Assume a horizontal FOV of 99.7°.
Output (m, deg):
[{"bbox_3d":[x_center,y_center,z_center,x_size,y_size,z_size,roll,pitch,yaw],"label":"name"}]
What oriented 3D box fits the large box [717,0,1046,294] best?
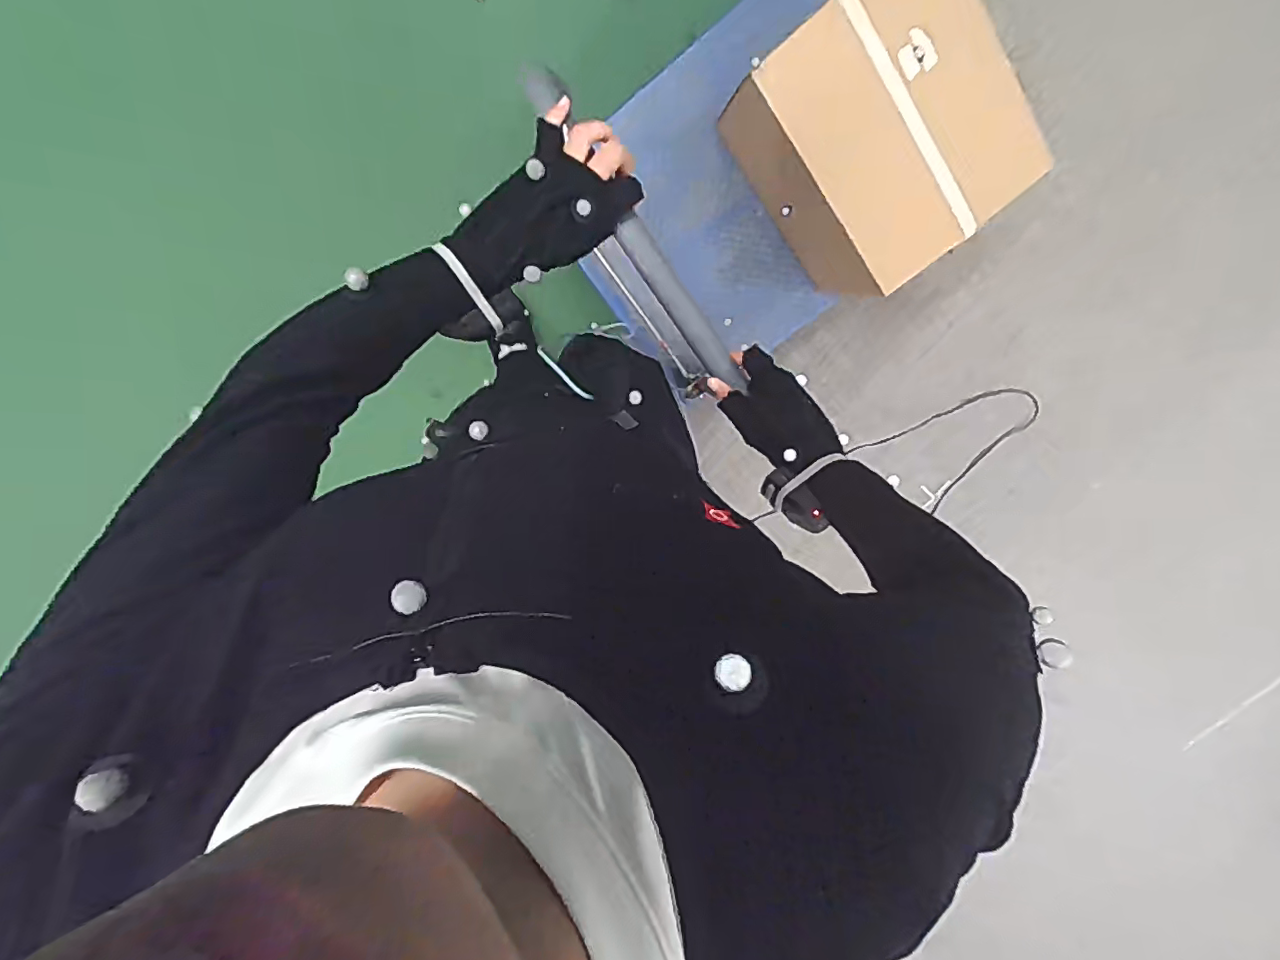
[{"bbox_3d":[0.391,-0.591,0.957,0.320,0.320,0.408,-37,106,10],"label":"large box"}]
